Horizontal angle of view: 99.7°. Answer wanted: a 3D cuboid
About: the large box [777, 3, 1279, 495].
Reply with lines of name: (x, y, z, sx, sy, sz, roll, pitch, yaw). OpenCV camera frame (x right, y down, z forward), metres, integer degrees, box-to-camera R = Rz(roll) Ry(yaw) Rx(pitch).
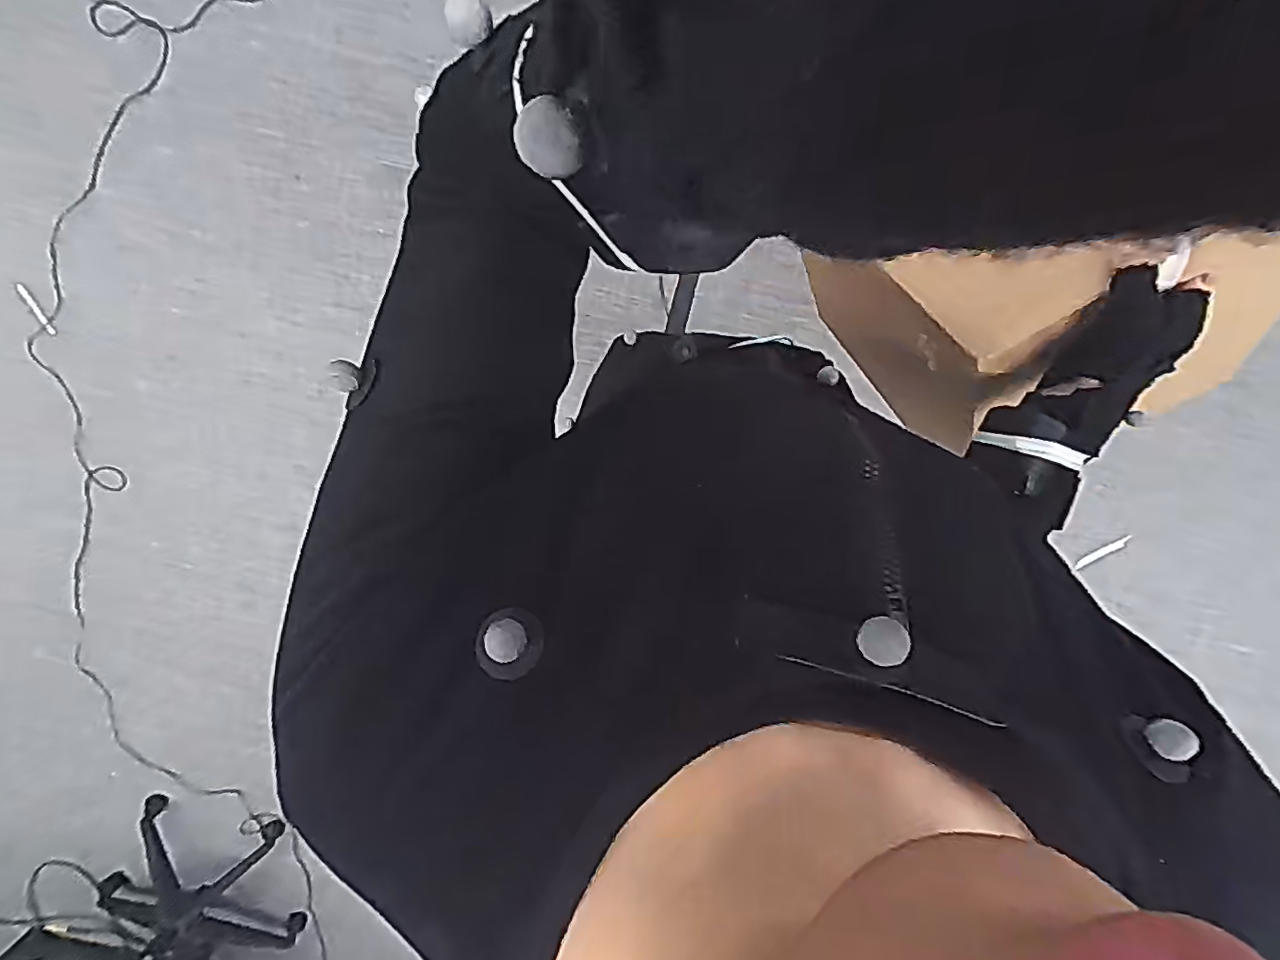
large box: (0.422, -0.261, 0.657, 0.320, 0.408, 0.320, -30, 145, 13)
